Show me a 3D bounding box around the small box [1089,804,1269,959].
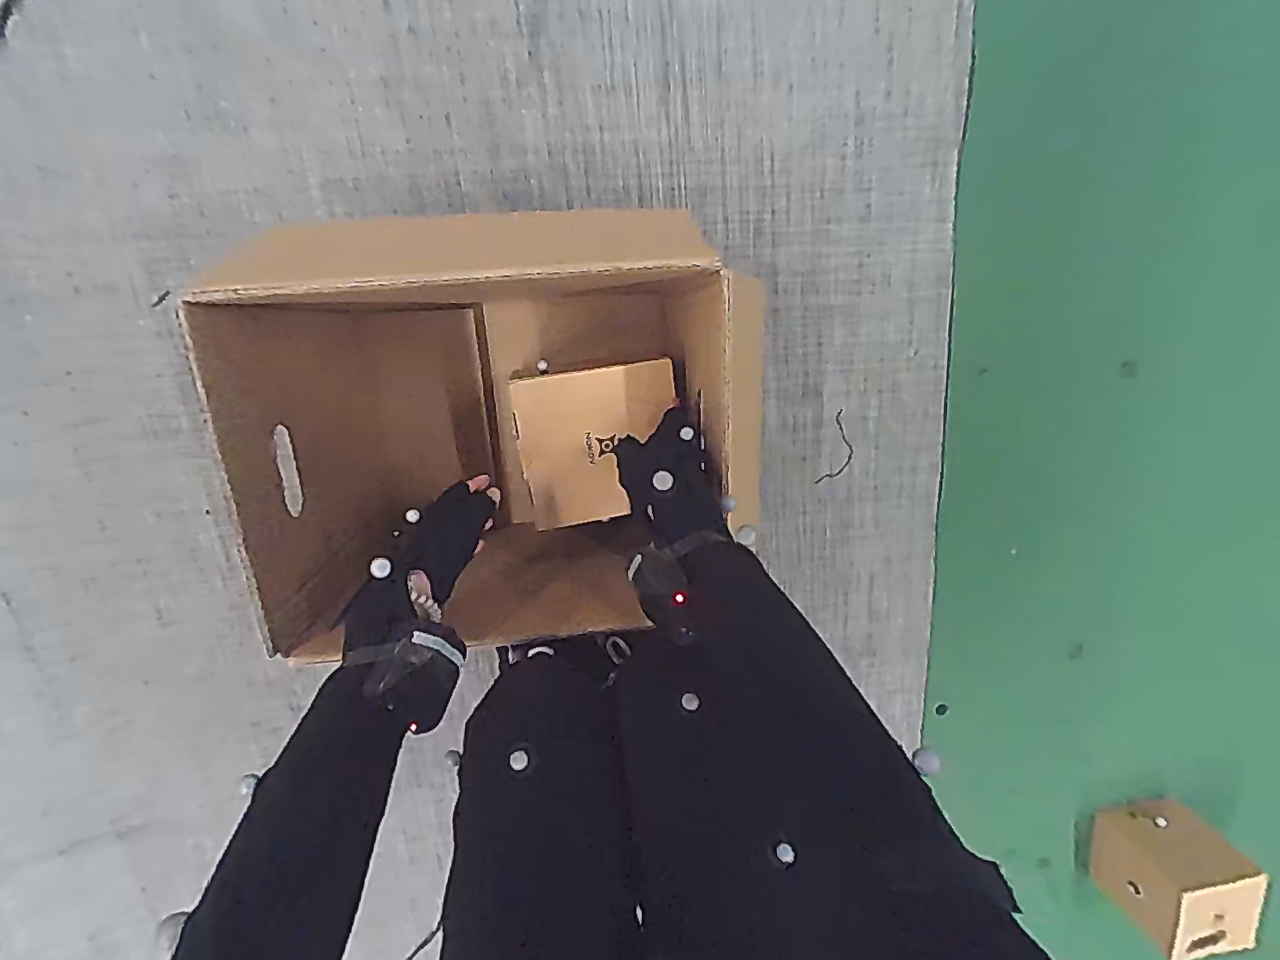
[{"bbox_3d":[0.996,0.757,1.018,0.168,0.176,0.179,-9,105,-4],"label":"small box"}]
